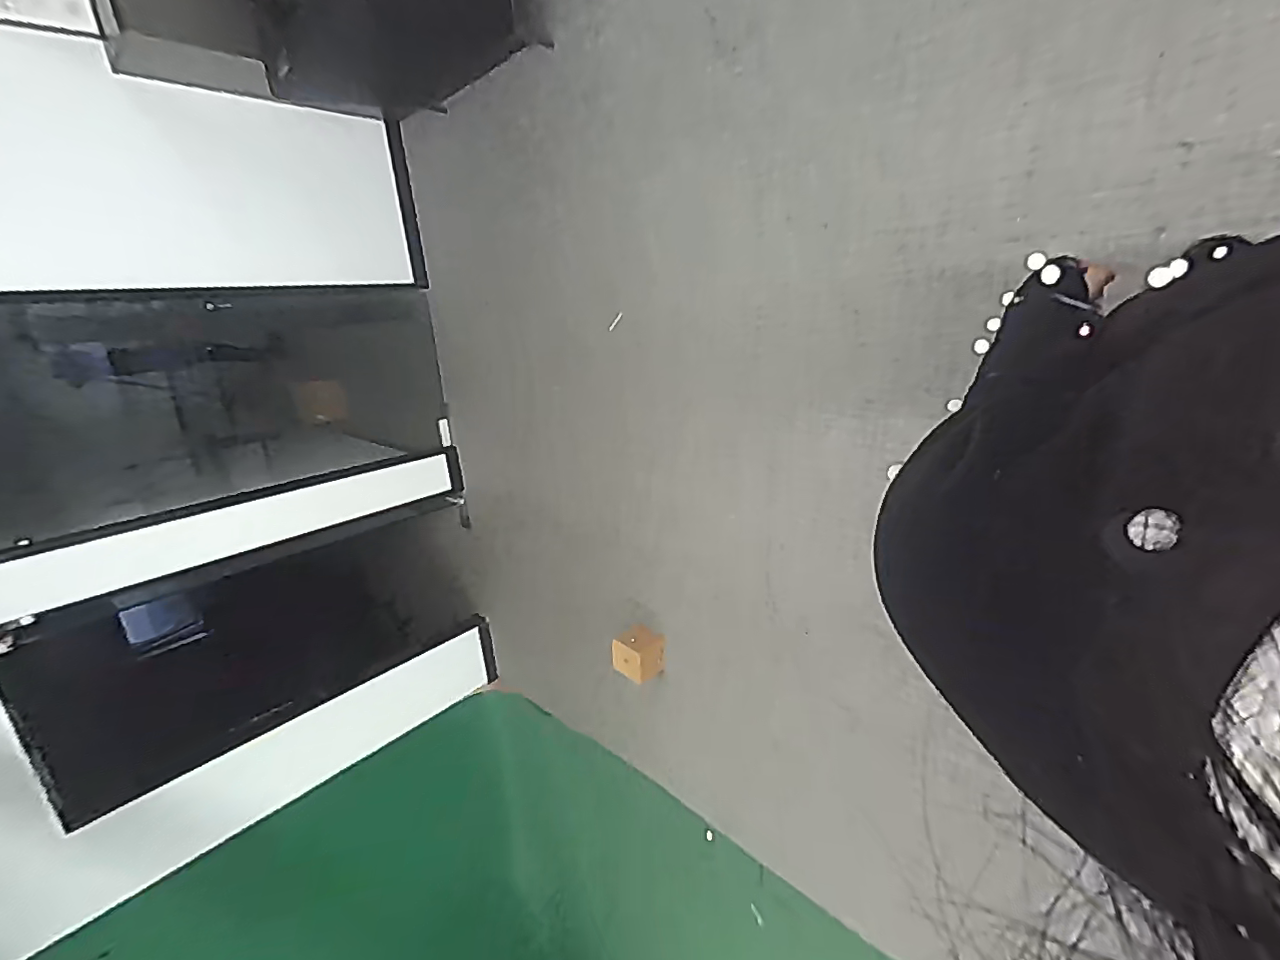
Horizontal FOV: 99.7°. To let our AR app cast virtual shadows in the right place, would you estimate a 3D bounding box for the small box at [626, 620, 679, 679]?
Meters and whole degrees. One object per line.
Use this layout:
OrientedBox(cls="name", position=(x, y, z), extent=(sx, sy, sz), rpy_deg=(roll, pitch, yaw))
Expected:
OrientedBox(cls="small box", position=(0.058, 0.759, 2.443), extent=(0.179, 0.176, 0.168), rpy_deg=(15, 117, 41))
